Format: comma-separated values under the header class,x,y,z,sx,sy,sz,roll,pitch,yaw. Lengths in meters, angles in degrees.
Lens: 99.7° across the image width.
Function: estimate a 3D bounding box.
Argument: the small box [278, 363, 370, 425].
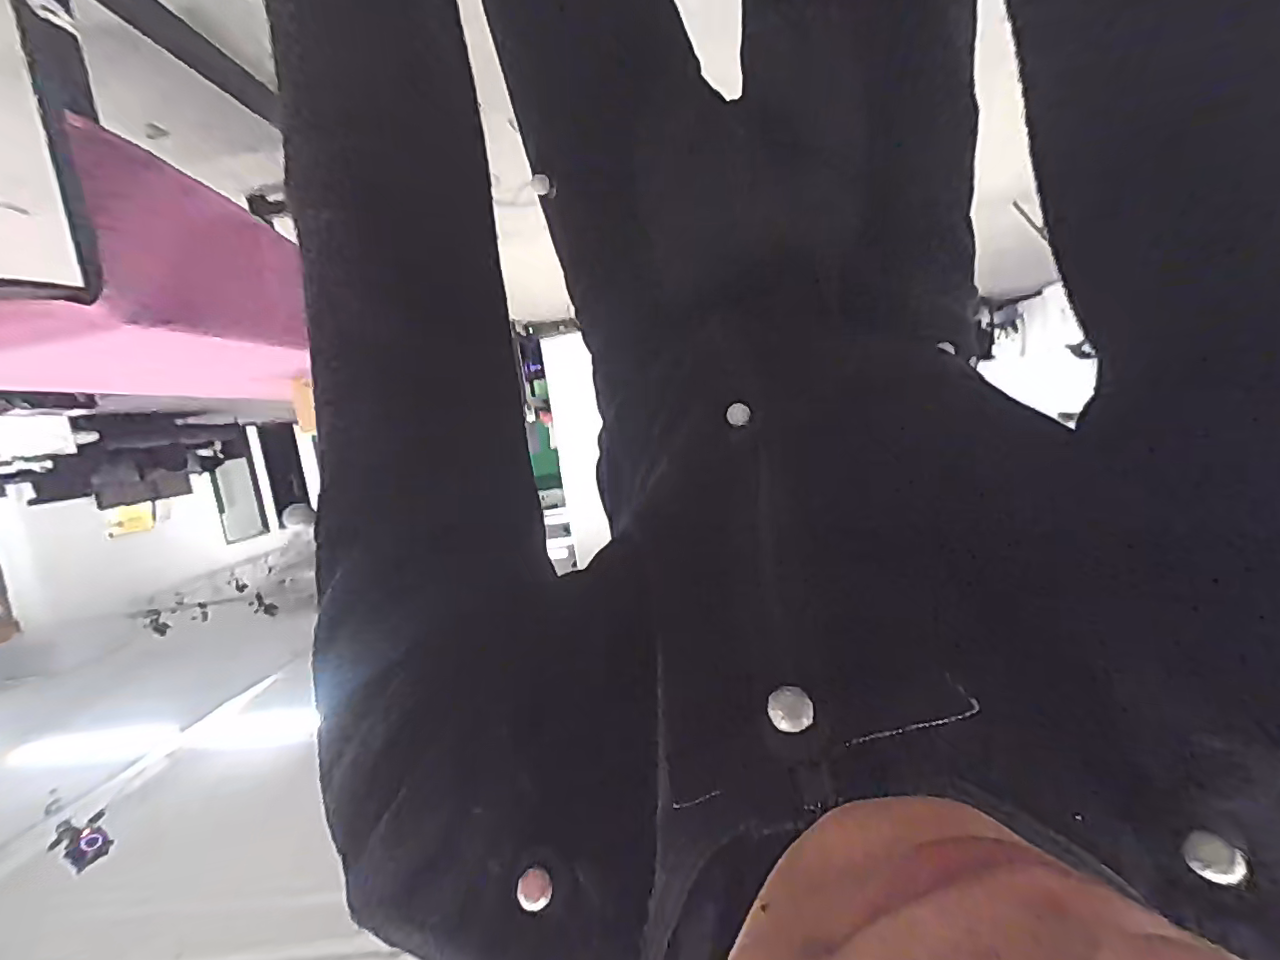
class,x,y,z,sx,sy,sz,roll,pitch,yaw
small box,-0.987,-0.271,1.695,0.168,0.176,0.179,-7,-173,14
